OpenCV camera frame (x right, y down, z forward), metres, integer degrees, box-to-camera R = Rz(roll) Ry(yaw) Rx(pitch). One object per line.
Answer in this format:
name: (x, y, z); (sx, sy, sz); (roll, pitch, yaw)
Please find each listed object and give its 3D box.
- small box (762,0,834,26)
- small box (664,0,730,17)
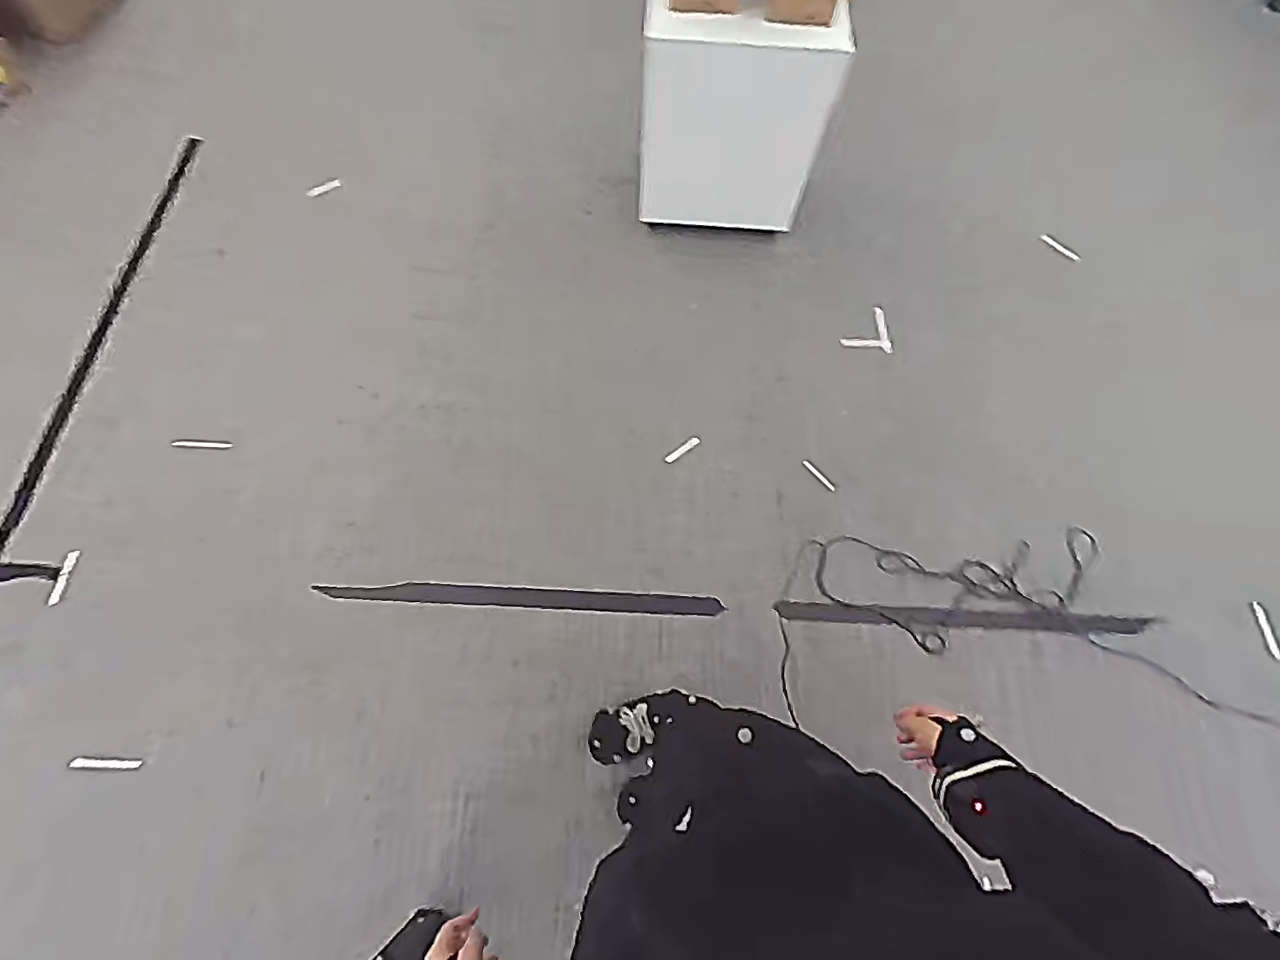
small box: (0.399, -1.259, 1.327); (0.168, 0.176, 0.179); (3, 69, 1)
small box: (0.146, -1.292, 1.330); (0.168, 0.176, 0.179); (1, 68, -2)
